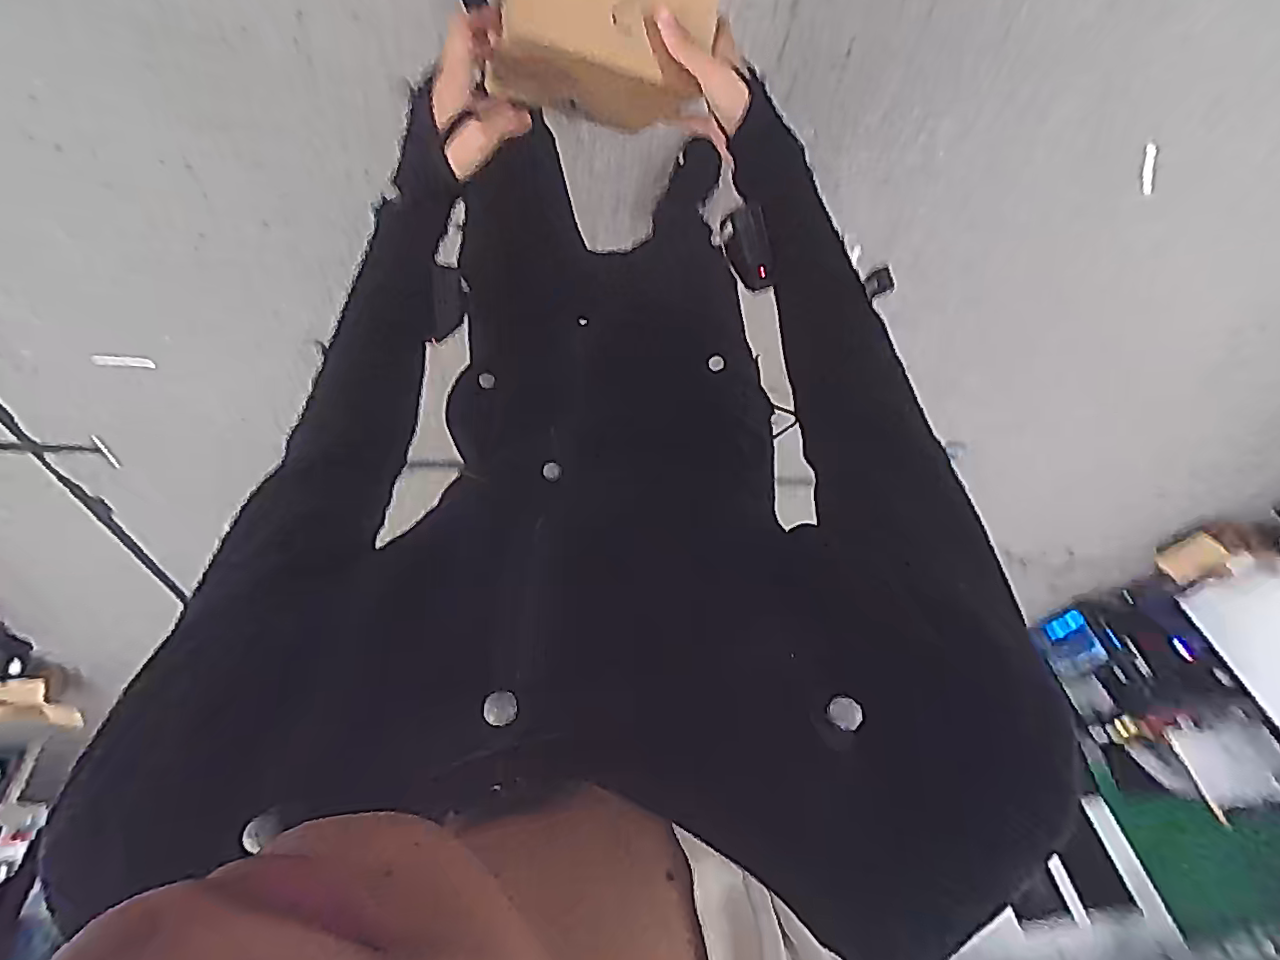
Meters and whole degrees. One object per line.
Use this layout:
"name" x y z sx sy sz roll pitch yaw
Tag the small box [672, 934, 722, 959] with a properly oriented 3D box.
"small box" 0.236 1.978 2.215 0.168 0.176 0.179 5 139 -16
